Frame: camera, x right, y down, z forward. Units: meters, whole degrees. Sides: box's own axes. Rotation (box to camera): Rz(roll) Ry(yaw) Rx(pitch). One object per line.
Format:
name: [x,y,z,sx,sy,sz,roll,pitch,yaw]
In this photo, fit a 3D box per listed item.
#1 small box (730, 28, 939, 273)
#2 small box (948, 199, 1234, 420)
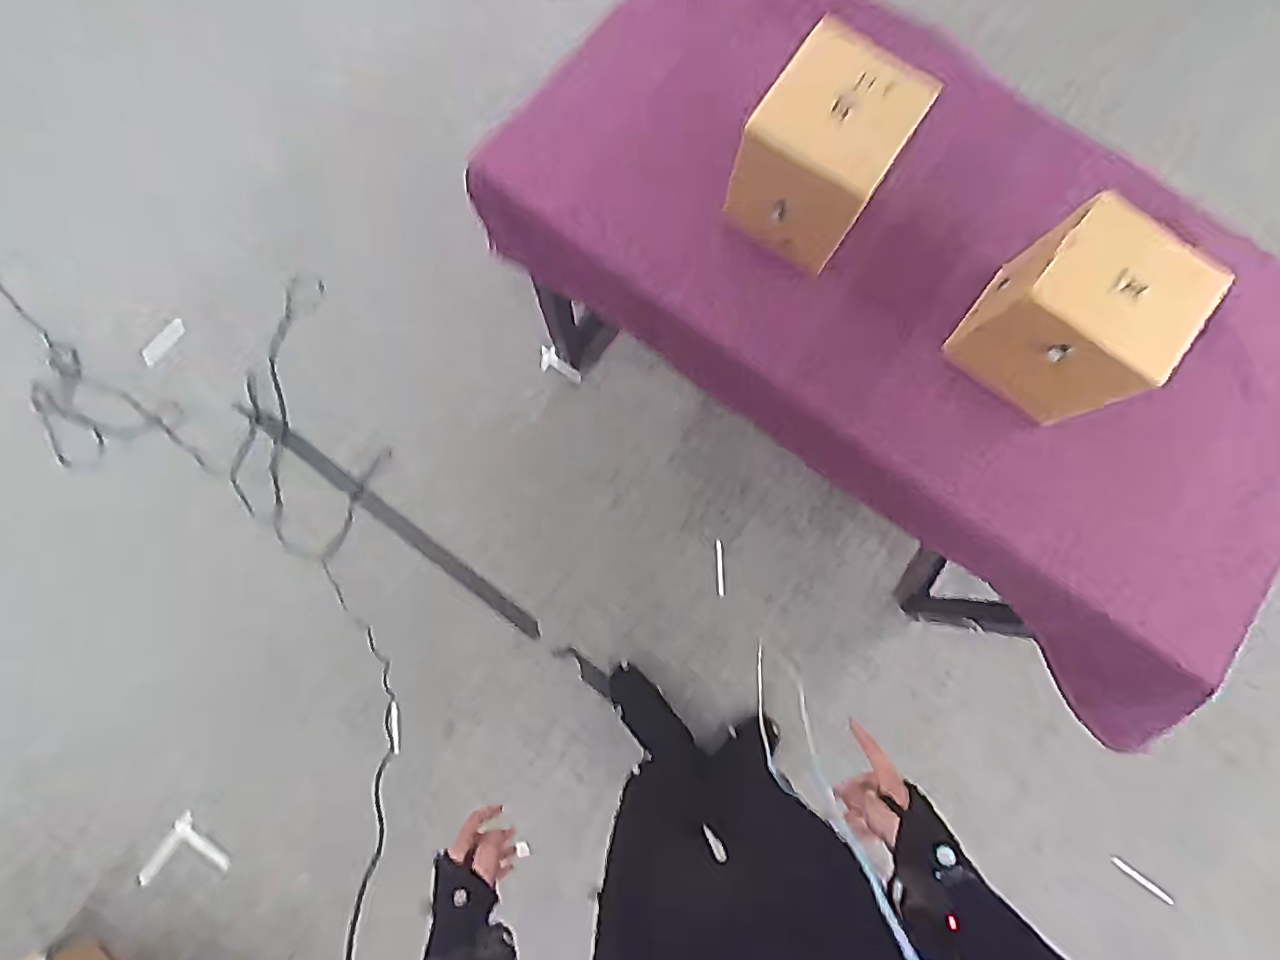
small box: [0.233,-0.408,0.701,0.168,0.176,0.179,34,81,4]
small box: [0.539,-0.193,0.673,0.179,0.176,0.168,38,82,6]
